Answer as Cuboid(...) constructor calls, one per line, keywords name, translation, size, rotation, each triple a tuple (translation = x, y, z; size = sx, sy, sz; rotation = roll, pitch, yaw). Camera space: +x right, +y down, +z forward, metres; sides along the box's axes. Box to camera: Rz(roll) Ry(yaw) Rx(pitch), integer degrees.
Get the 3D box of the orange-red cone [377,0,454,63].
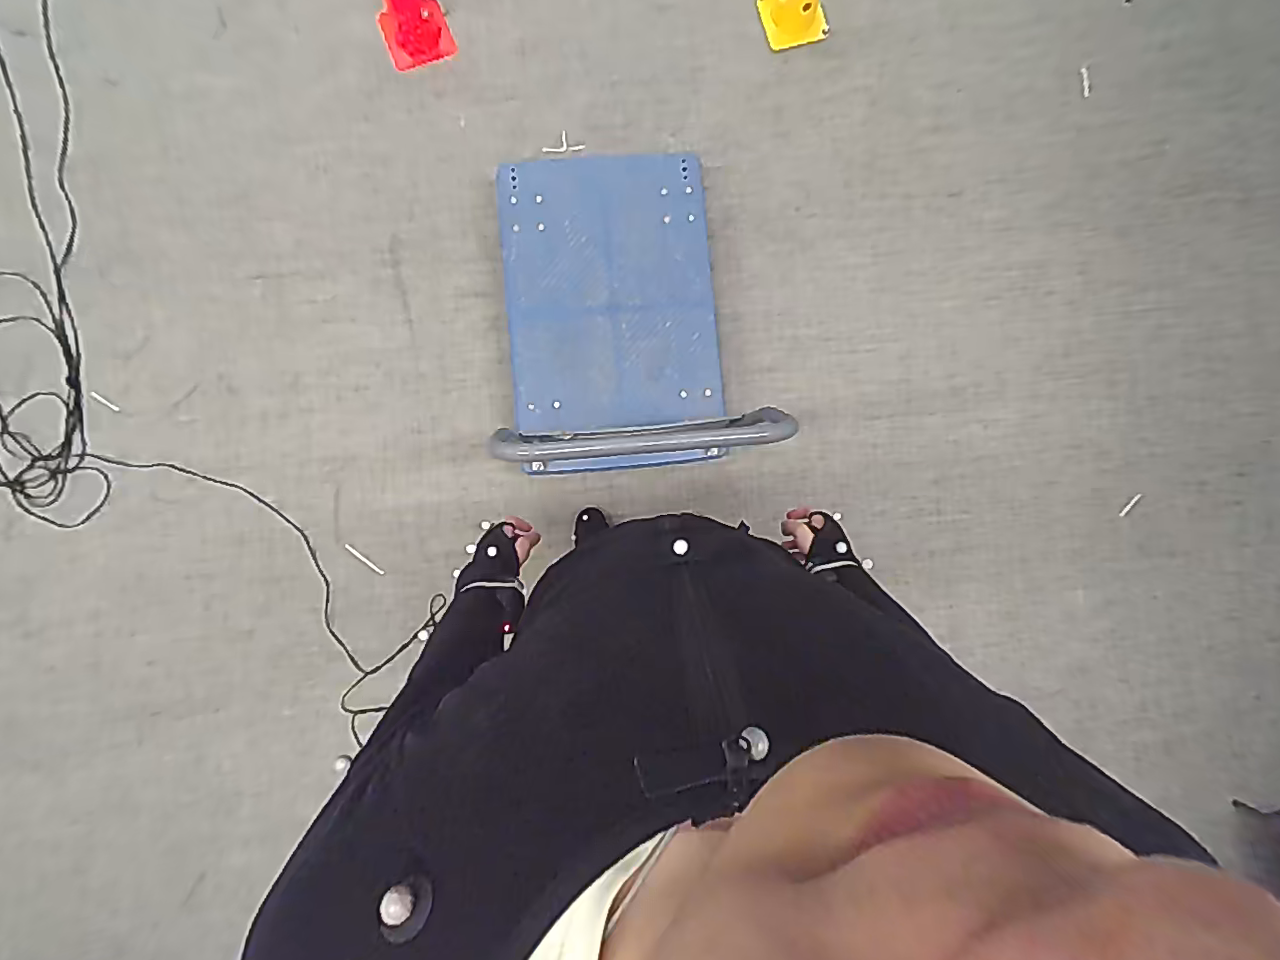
Cuboid(name="orange-red cone", translation=(-0.683, -1.399, 1.491), size=(0.199, 0.360, 0.198), rotation=(-20, 88, -2))
